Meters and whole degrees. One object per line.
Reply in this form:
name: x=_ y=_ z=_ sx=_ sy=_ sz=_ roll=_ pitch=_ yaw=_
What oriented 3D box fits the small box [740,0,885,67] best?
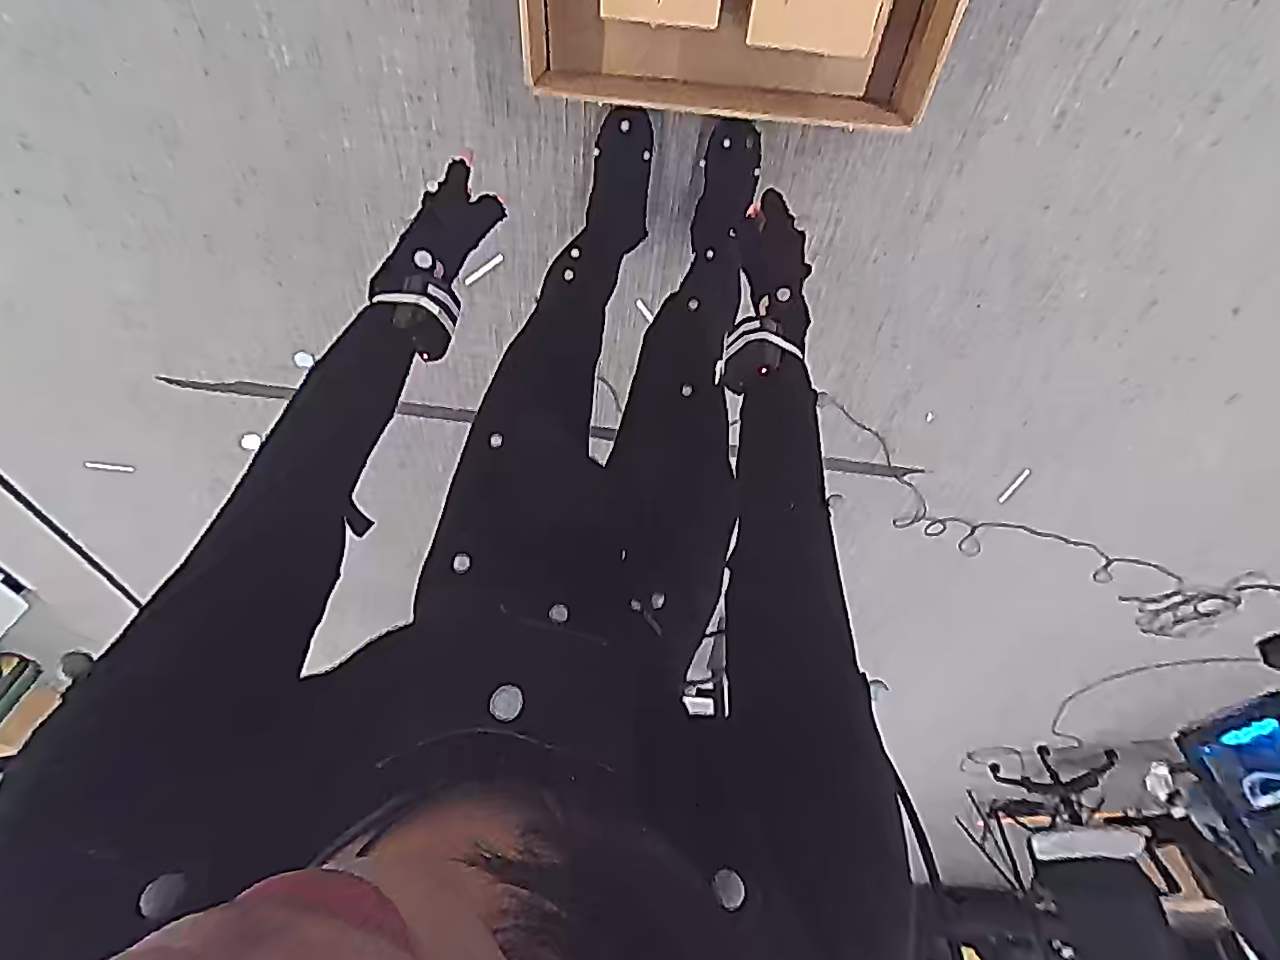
small box: x=0.247 y=-0.711 z=0.766 sx=0.179 sy=0.176 sz=0.168 roll=7 pitch=135 yaw=0
